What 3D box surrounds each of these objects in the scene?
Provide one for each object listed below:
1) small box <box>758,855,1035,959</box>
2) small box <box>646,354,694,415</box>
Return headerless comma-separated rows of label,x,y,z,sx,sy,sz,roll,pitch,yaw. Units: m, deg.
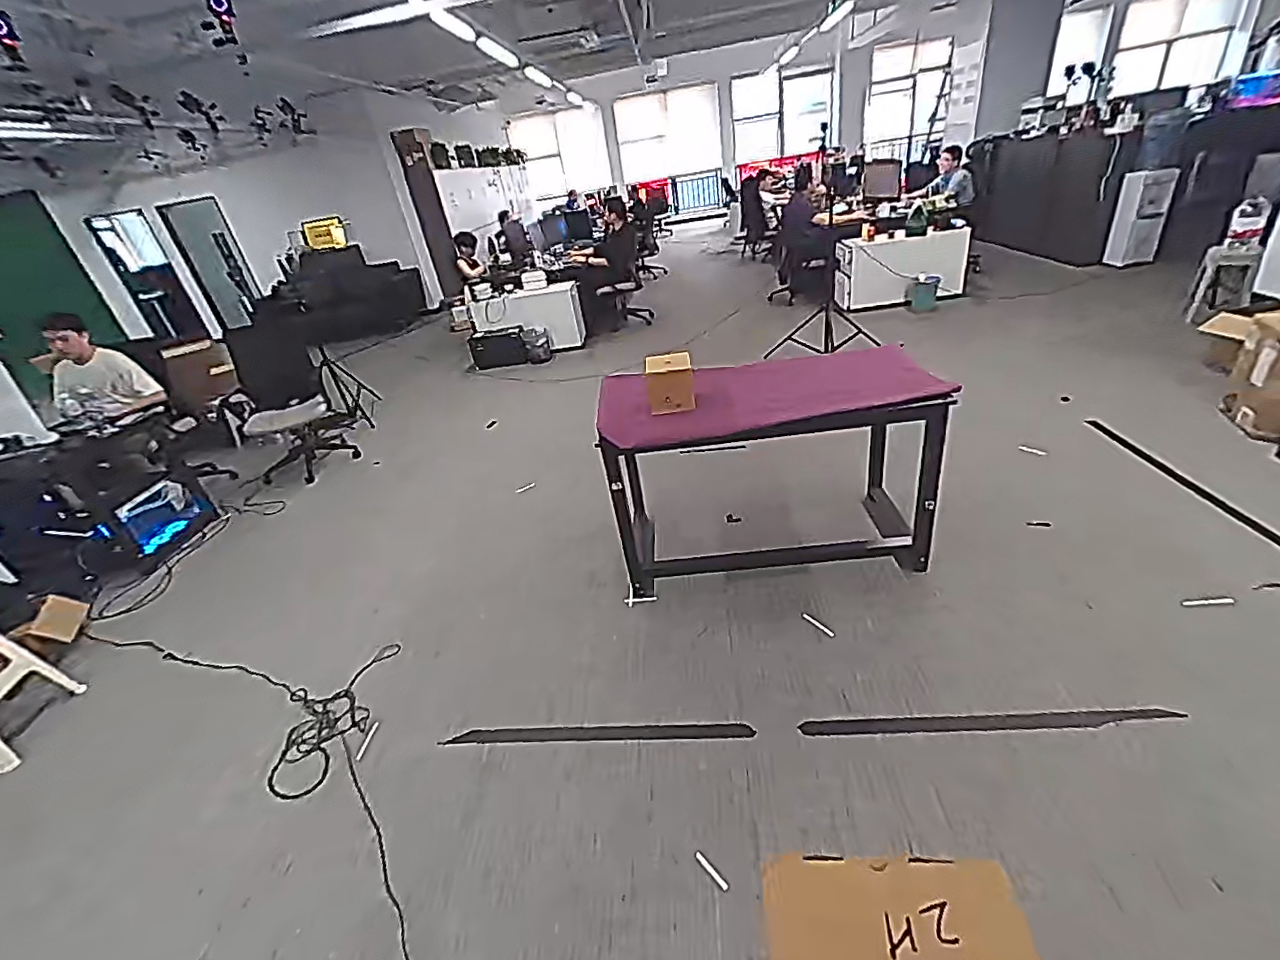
small box,0.172,0.386,0.366,0.168,0.176,0.179,-4,38,10
small box,0.114,-0.361,2.047,0.168,0.176,0.179,-6,31,5
